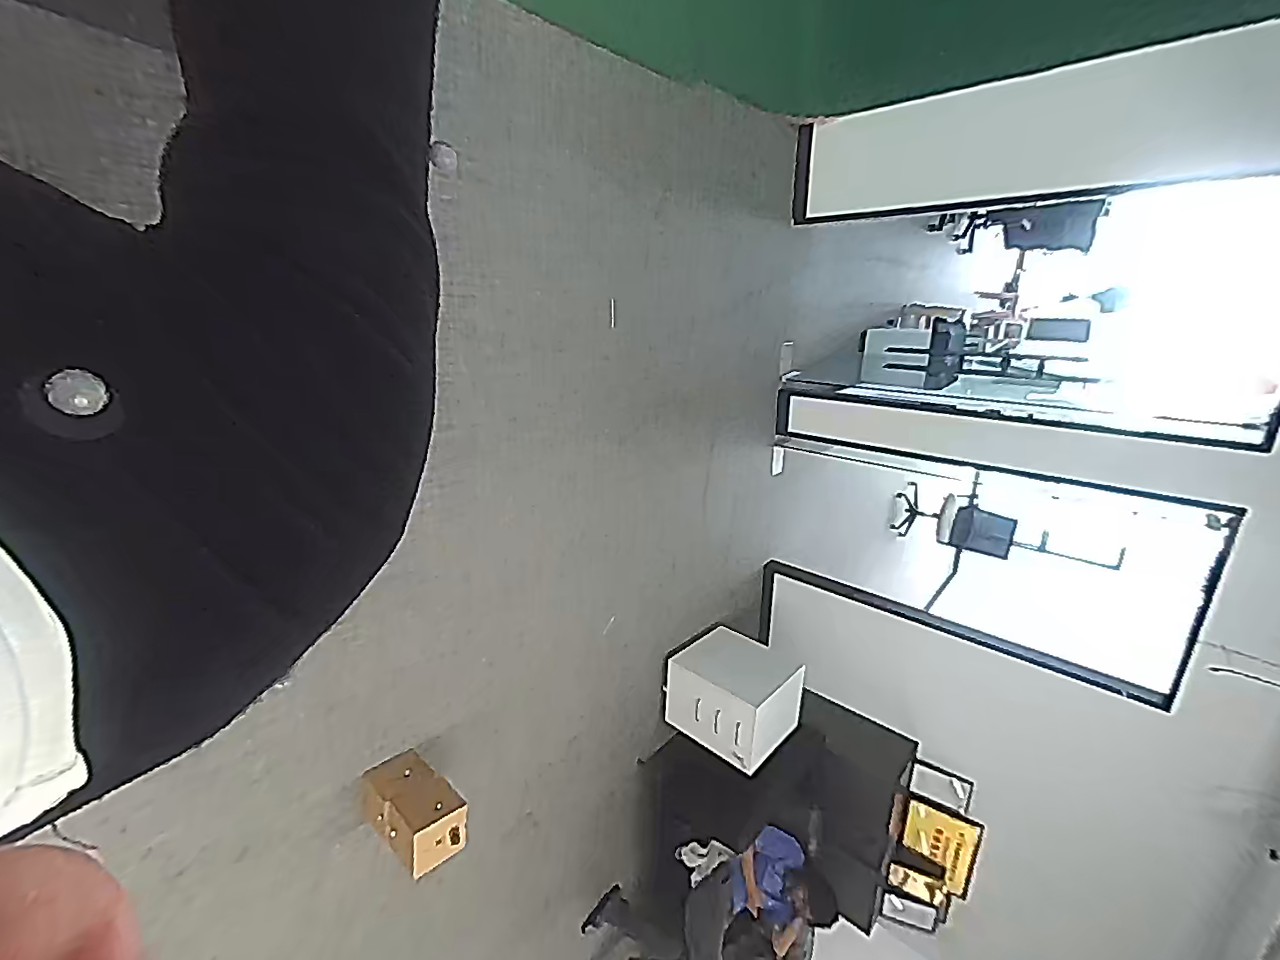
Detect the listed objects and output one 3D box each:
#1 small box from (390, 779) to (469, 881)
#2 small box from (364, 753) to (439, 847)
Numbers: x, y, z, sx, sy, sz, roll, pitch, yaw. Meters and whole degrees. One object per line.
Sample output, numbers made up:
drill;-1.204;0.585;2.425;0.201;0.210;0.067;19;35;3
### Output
small box;-0.658;1.081;1.691;0.179;0.176;0.168;-8;109;-48
small box;-0.788;1.045;1.787;0.179;0.176;0.168;-11;111;-48
